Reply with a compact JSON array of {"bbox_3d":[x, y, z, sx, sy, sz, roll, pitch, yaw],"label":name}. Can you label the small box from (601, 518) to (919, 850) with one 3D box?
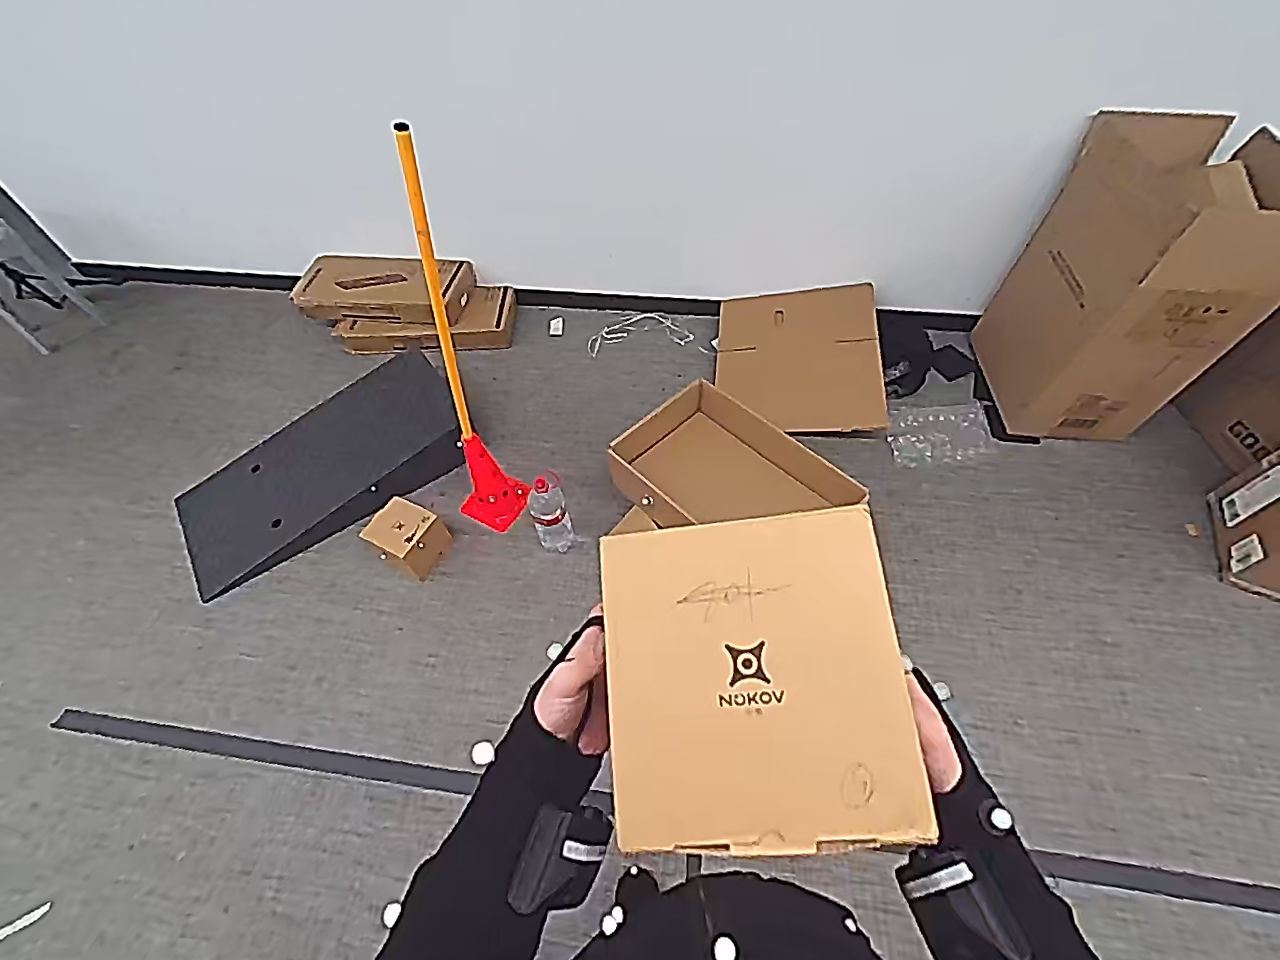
[{"bbox_3d":[0.075,0.138,0.391,0.168,0.176,0.179,-8,70,8],"label":"small box"}]
